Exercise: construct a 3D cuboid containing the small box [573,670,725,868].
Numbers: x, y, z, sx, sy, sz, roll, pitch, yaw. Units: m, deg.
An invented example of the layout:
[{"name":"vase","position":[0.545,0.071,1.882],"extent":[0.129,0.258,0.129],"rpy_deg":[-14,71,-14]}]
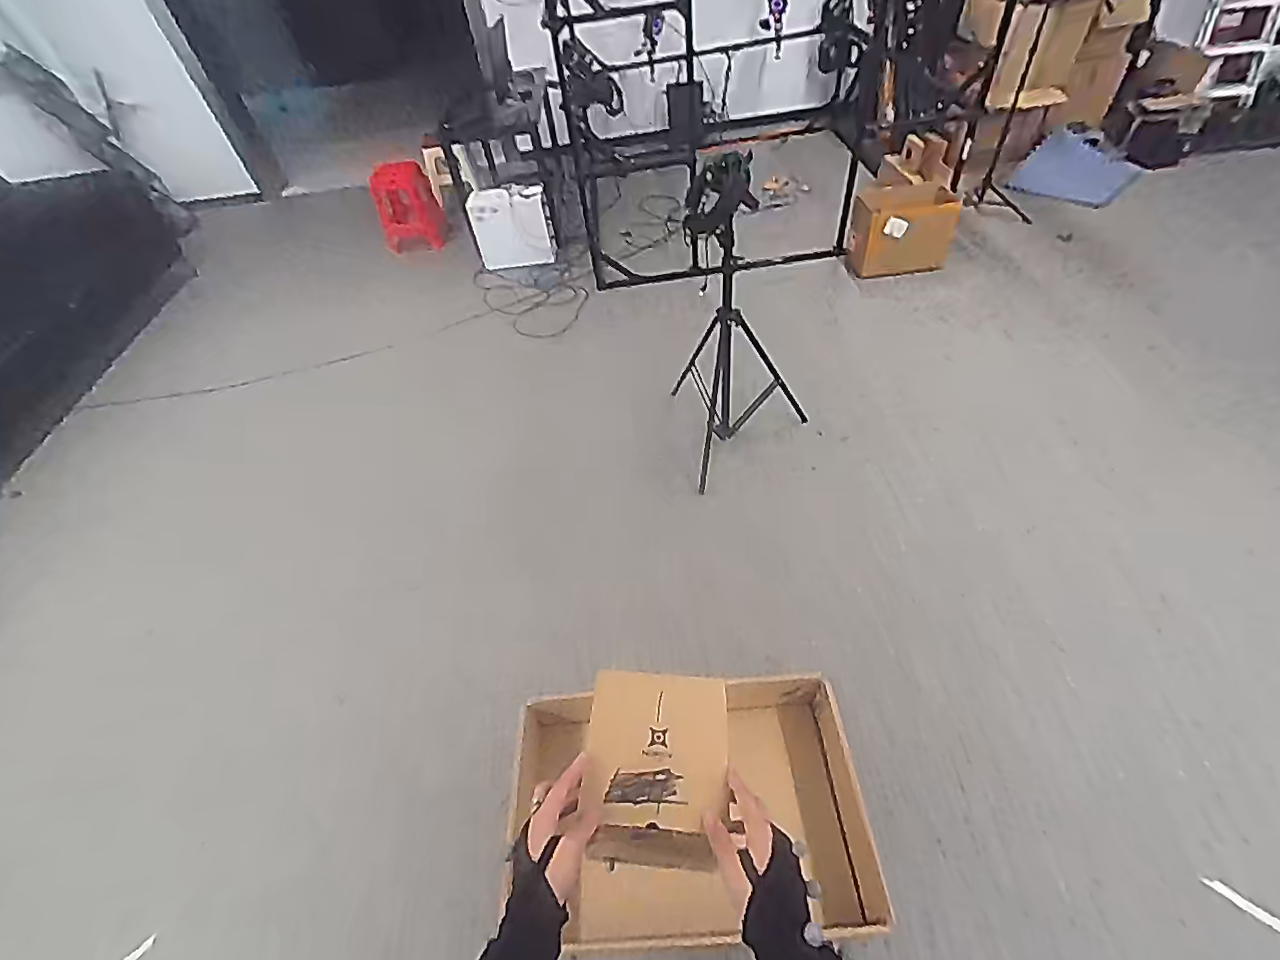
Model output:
[{"name":"small box","position":[0.018,0.365,0.681],"extent":[0.168,0.176,0.179],"rpy_deg":[3,43,4]}]
